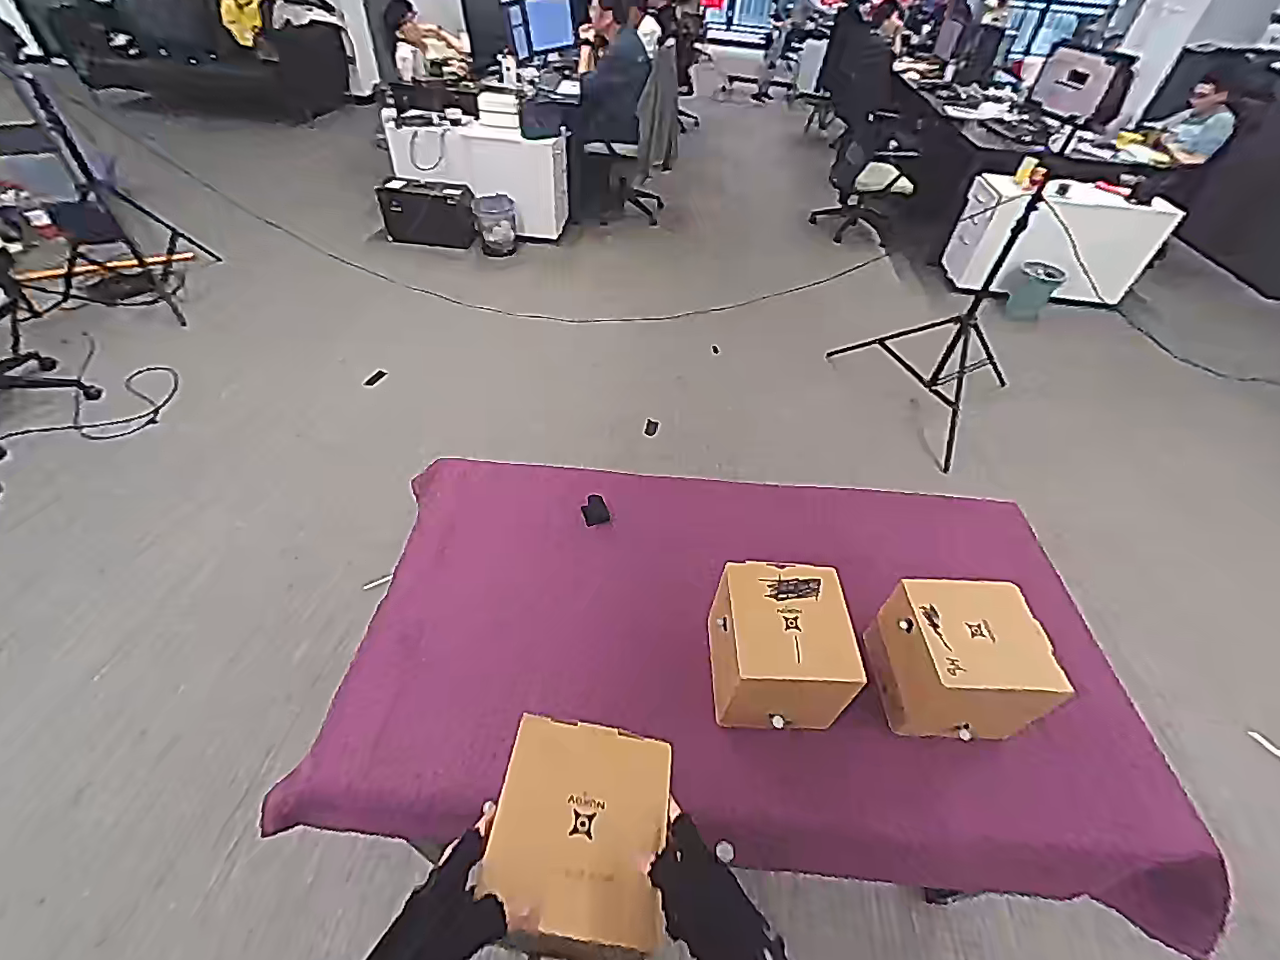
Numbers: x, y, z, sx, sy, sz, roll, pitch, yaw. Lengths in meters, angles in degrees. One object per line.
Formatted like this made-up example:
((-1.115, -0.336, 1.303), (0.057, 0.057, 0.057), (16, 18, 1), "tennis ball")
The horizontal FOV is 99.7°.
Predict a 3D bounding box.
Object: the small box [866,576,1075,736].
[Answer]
((0.464, 0.261, 0.795), (0.179, 0.176, 0.168), (3, 45, -2), "small box")

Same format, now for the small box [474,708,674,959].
((-0.068, 0.373, 0.568), (0.168, 0.176, 0.179), (13, 43, -3), "small box")

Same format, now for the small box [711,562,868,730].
((0.201, 0.242, 0.790), (0.168, 0.176, 0.179), (3, 46, -2), "small box")
